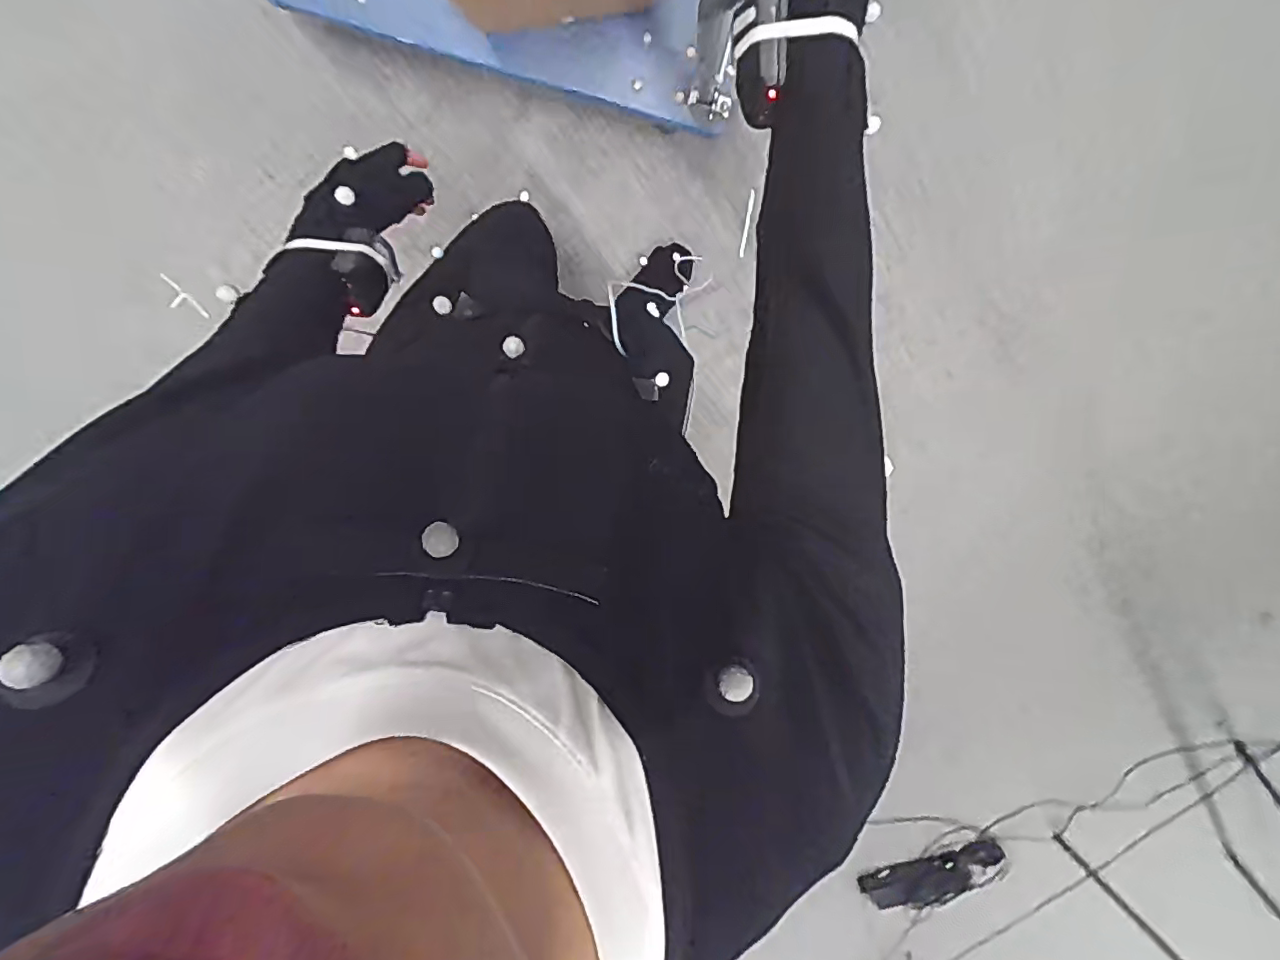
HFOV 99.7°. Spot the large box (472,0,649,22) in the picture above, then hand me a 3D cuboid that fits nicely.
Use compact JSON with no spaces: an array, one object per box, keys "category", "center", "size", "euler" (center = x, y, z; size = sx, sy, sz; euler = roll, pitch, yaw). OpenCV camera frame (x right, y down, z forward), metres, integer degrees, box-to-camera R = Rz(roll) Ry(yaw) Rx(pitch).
[{"category":"large box","center":[-0.138,-0.922,0.722],"size":[0.320,0.320,0.408],"euler":[-5,119,4]}]
